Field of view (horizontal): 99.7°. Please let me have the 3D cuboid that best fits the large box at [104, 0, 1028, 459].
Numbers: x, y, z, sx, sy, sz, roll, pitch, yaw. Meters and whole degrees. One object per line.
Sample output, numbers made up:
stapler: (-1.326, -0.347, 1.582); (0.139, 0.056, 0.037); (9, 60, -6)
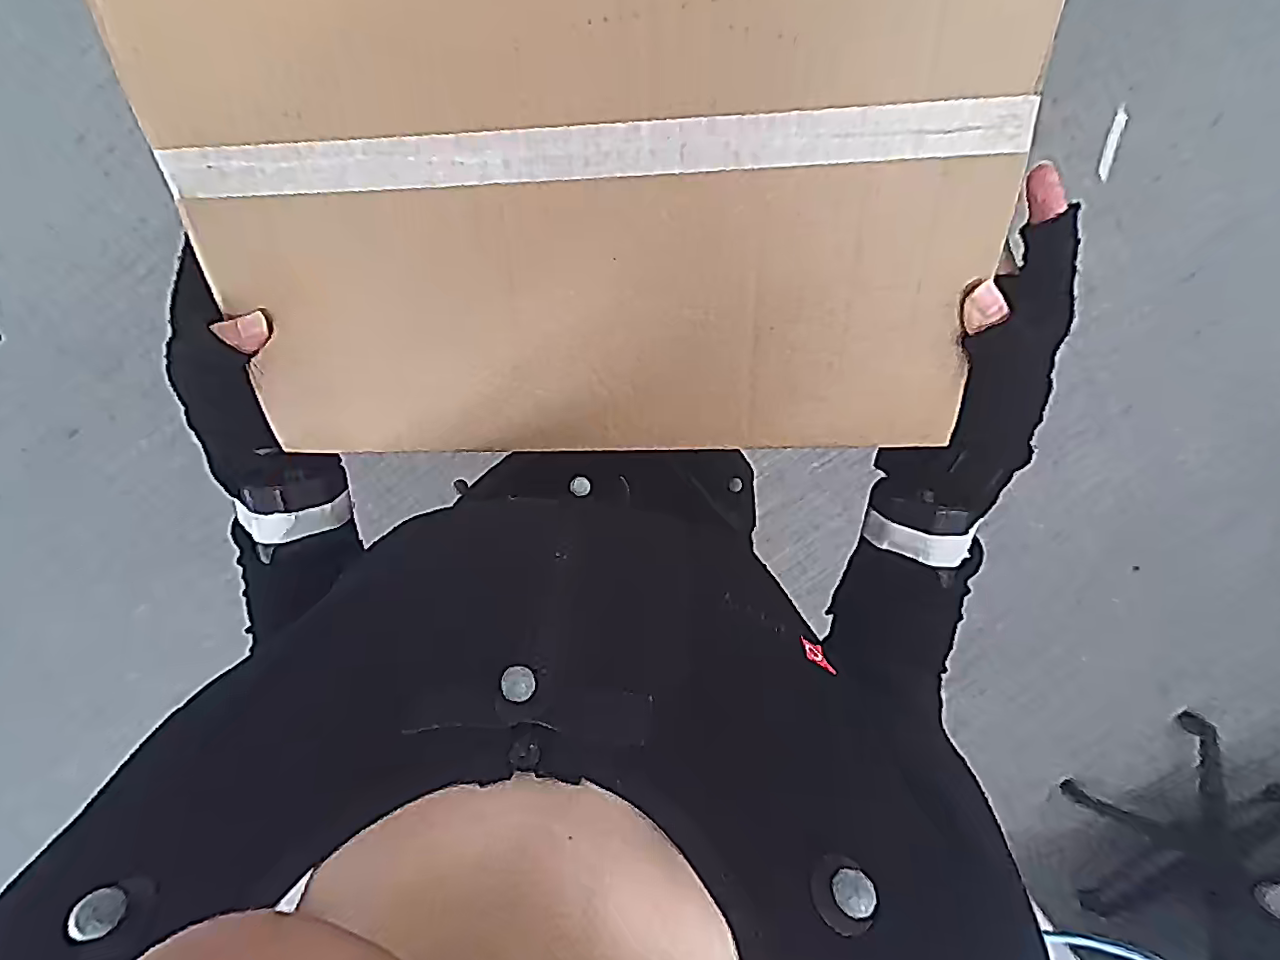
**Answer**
large box: (-0.024, -0.228, 0.390); (0.408, 0.320, 0.320); (-1, 120, 5)
